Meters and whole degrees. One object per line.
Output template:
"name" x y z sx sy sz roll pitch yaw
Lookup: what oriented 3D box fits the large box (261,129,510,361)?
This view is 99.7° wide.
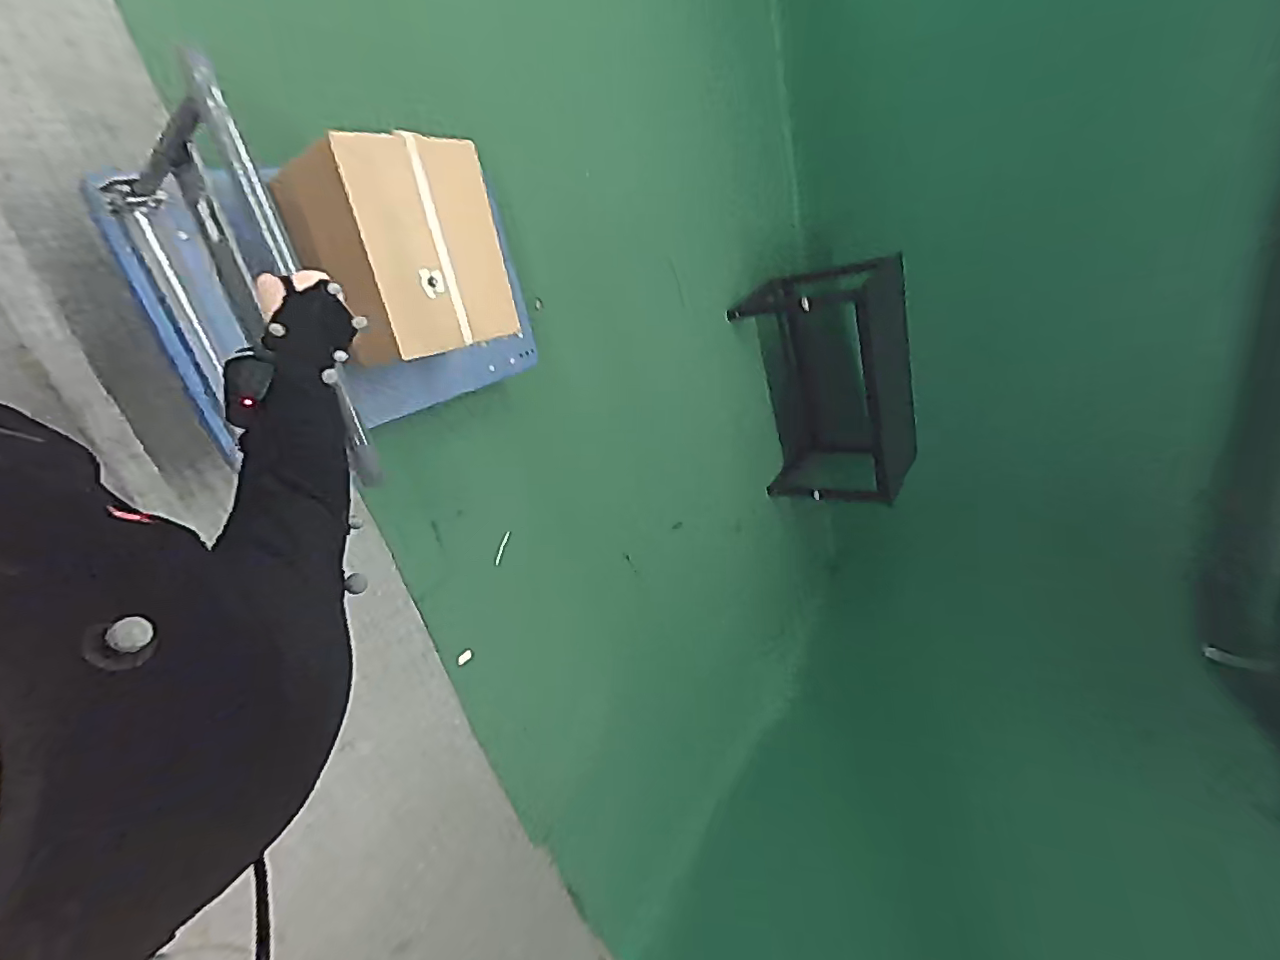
"large box" -0.552 -0.502 1.207 0.320 0.320 0.408 -32 119 -45
